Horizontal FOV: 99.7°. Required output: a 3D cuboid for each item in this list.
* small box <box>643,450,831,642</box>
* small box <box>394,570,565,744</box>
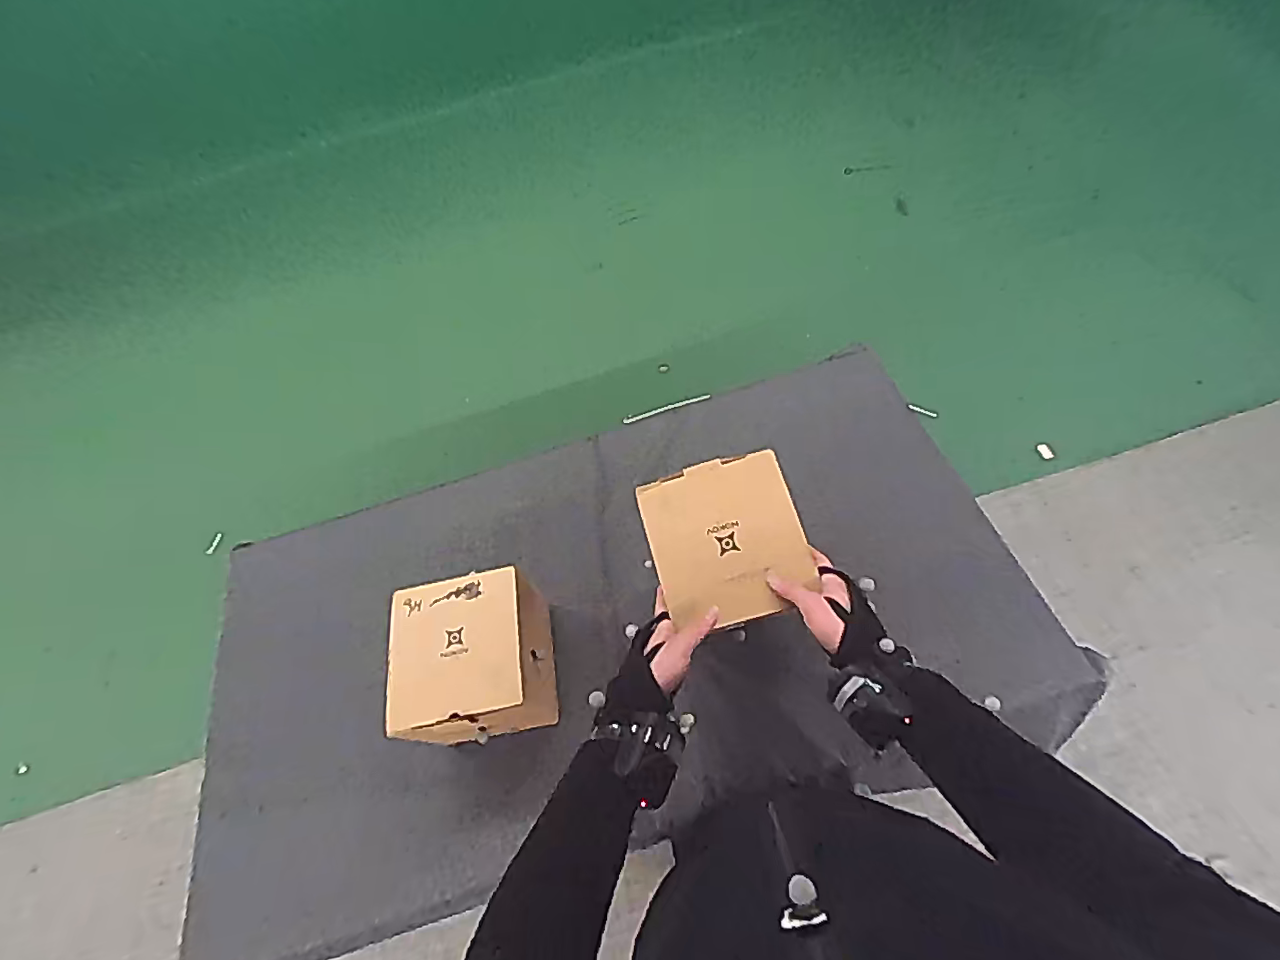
[{"bbox_3d":[0.108,0.089,0.650,0.168,0.176,0.179,-15,71,4],"label":"small box"},{"bbox_3d":[-0.210,0.248,0.734,0.168,0.176,0.179,-15,59,2],"label":"small box"}]
